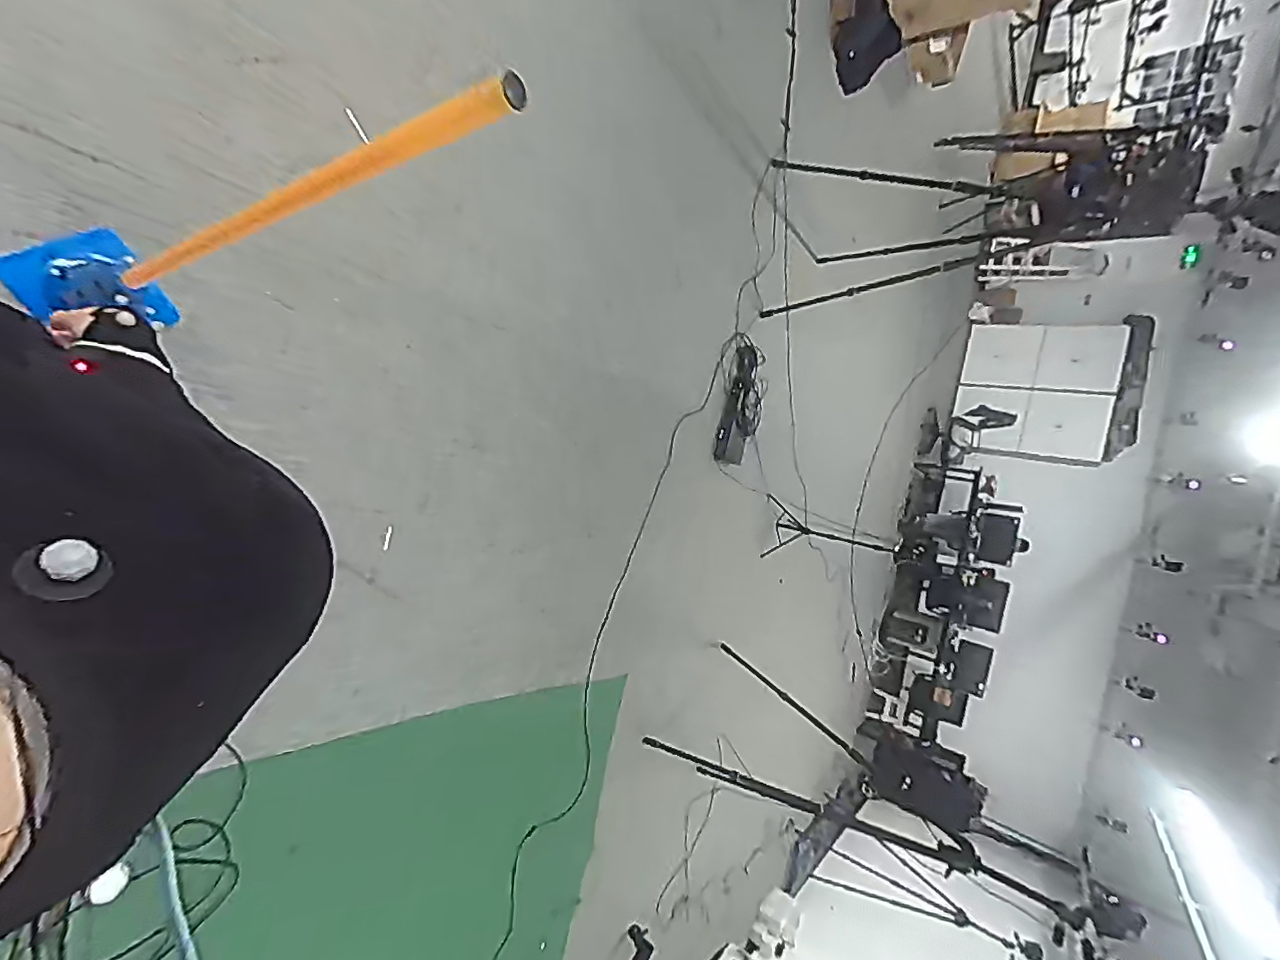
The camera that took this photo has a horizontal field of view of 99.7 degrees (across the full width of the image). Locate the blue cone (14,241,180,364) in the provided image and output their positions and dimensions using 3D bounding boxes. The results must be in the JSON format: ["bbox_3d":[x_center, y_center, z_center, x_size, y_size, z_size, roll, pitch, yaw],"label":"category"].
[{"bbox_3d":[-0.922,-0.329,0.958,0.193,0.380,0.192,-50,133,-34],"label":"blue cone"}]
